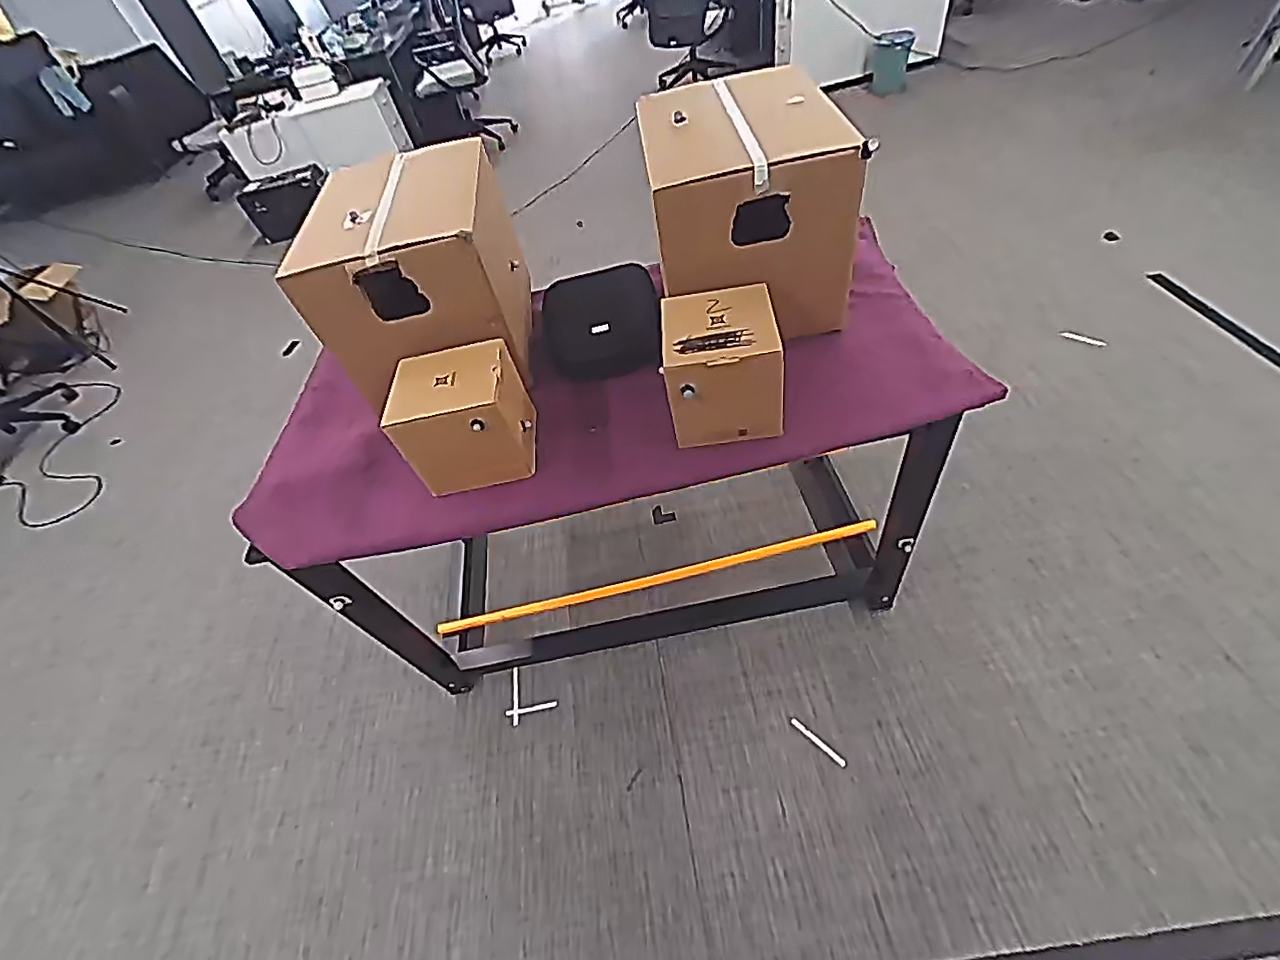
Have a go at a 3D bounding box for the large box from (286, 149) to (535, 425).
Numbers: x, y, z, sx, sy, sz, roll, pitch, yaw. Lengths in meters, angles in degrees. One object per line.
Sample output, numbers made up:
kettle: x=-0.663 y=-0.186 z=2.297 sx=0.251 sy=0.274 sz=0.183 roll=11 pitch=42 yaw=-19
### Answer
large box: x=-0.406 y=-0.377 z=1.059 sx=0.320 sy=0.320 sz=0.408 roll=-14 pitch=52 yaw=2
